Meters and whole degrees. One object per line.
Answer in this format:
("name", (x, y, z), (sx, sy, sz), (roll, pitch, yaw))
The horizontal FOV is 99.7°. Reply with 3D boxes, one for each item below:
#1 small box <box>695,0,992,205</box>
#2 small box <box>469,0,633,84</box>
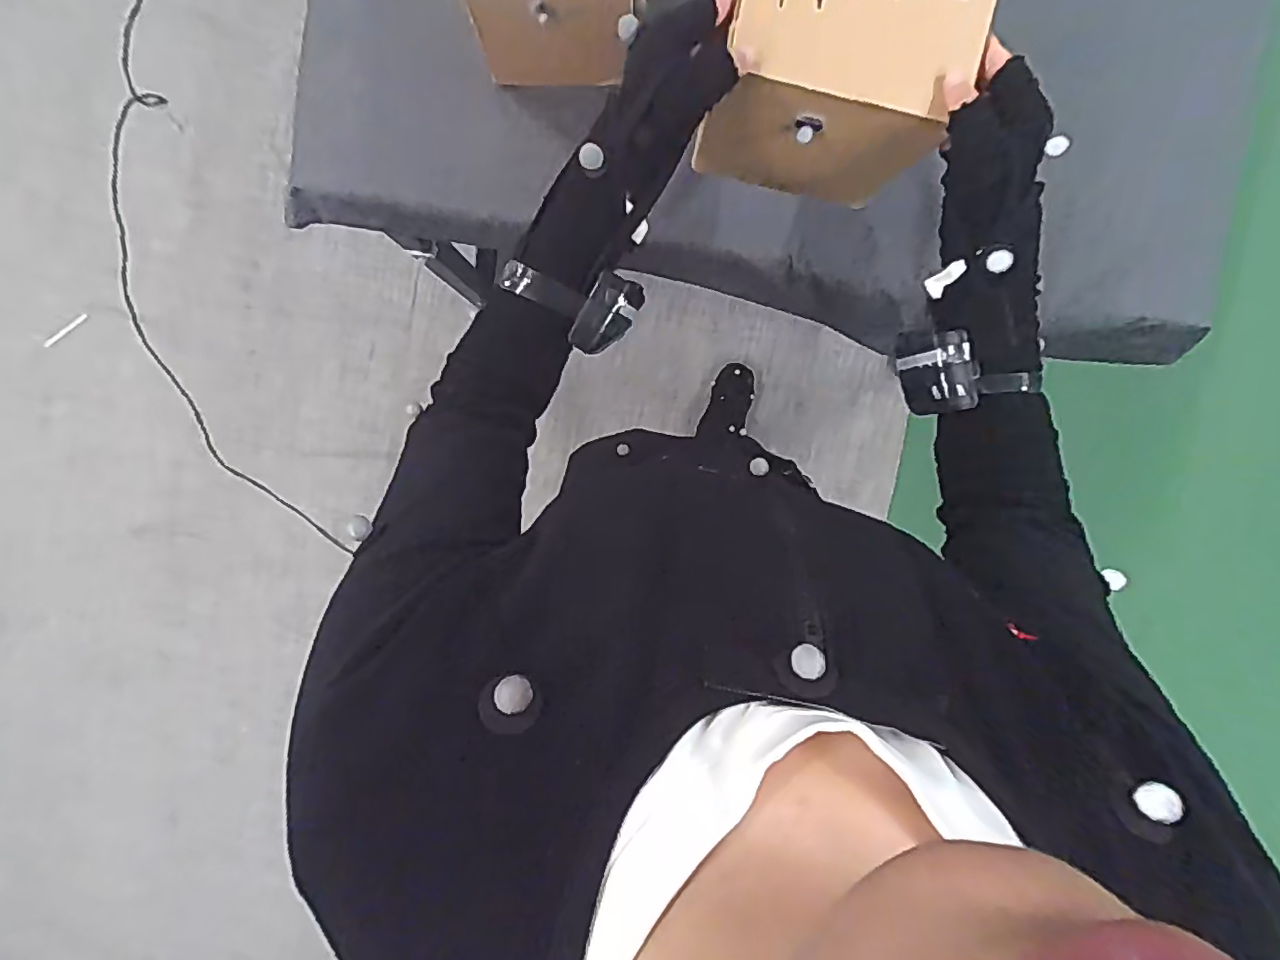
("small box", (0.152, -0.352, 0.444), (0.179, 0.176, 0.168), (11, 98, -5))
("small box", (-0.097, -0.576, 0.598), (0.179, 0.176, 0.168), (1, 96, -1))
